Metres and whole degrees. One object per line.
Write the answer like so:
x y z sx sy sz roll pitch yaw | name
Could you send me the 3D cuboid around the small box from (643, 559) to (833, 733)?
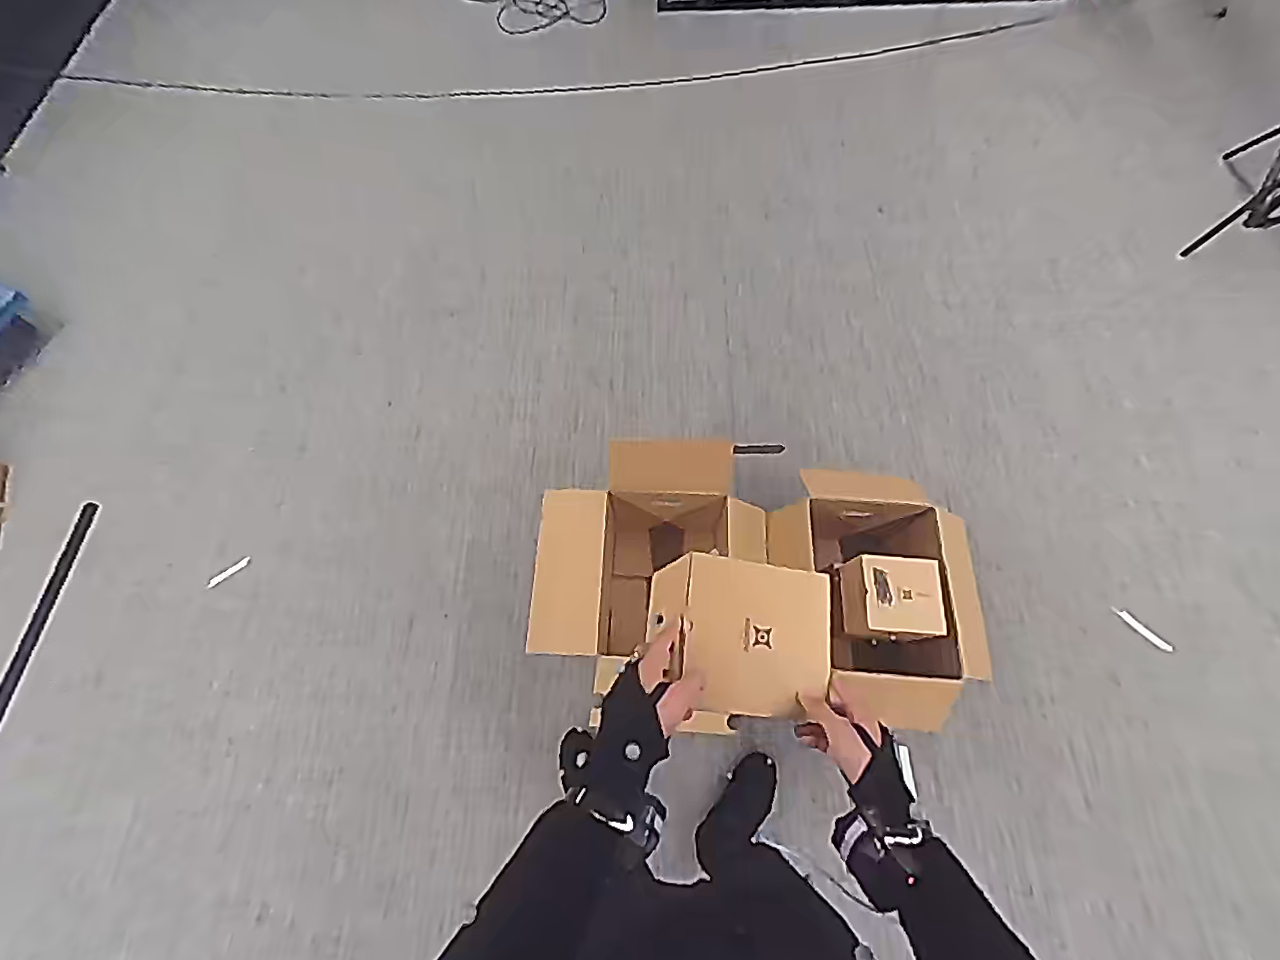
0.114 0.202 0.664 0.179 0.176 0.168 10 71 -9 | small box
